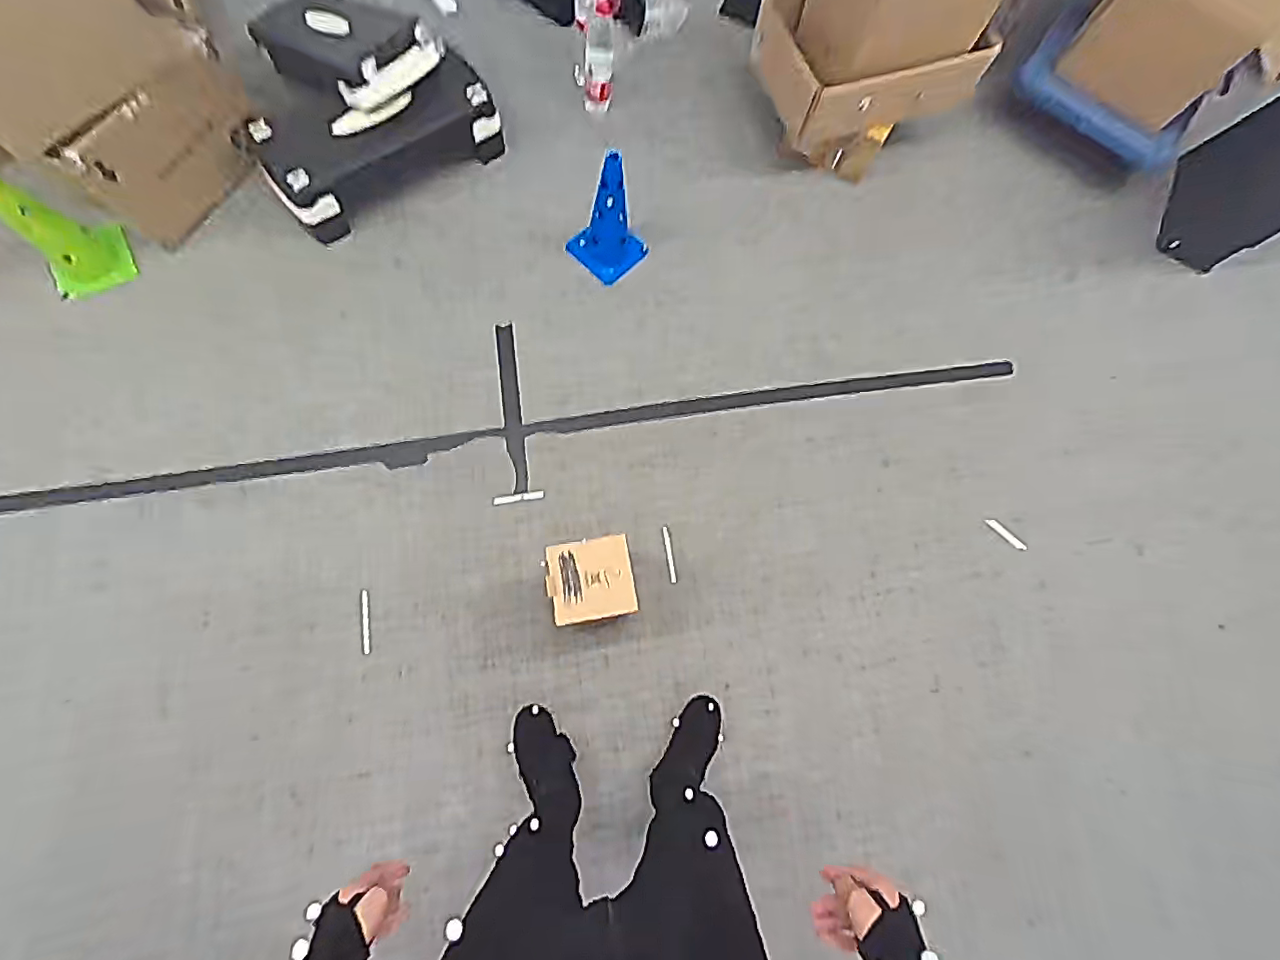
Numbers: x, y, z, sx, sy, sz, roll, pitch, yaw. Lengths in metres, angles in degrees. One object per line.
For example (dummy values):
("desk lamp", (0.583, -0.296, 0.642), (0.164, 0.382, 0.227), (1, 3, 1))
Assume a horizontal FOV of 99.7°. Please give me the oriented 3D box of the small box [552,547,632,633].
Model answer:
("small box", (-0.121, 0.278, 1.365), (0.168, 0.176, 0.179), (-12, 76, -9))
